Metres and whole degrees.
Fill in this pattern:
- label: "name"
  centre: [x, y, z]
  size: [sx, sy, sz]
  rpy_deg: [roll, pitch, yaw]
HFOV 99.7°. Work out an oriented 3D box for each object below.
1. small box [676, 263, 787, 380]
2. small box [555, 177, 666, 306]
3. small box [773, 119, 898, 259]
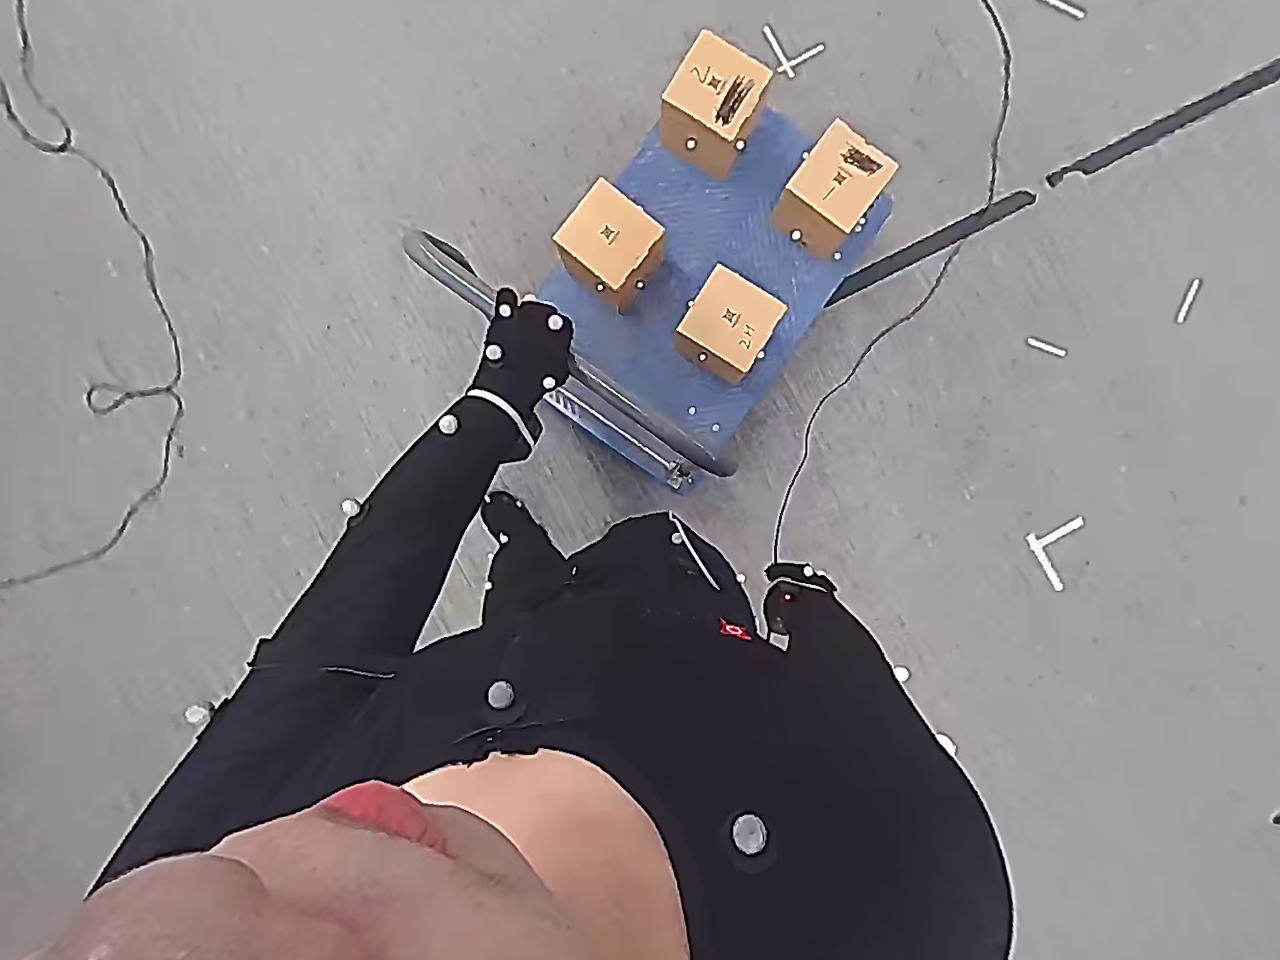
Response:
- label: "small box"
  centre: [0.192, -0.340, 1.202]
  size: [0.179, 0.176, 0.168]
  rpy_deg: [32, 92, 0]
- label: "small box"
  centre: [-0.064, -0.516, 1.201]
  size: [0.179, 0.176, 0.168]
  rpy_deg: [39, 91, -2]
- label: "small box"
  centre: [0.418, -0.629, 1.191]
  size: [0.168, 0.176, 0.179]
  rpy_deg: [37, 93, -1]
